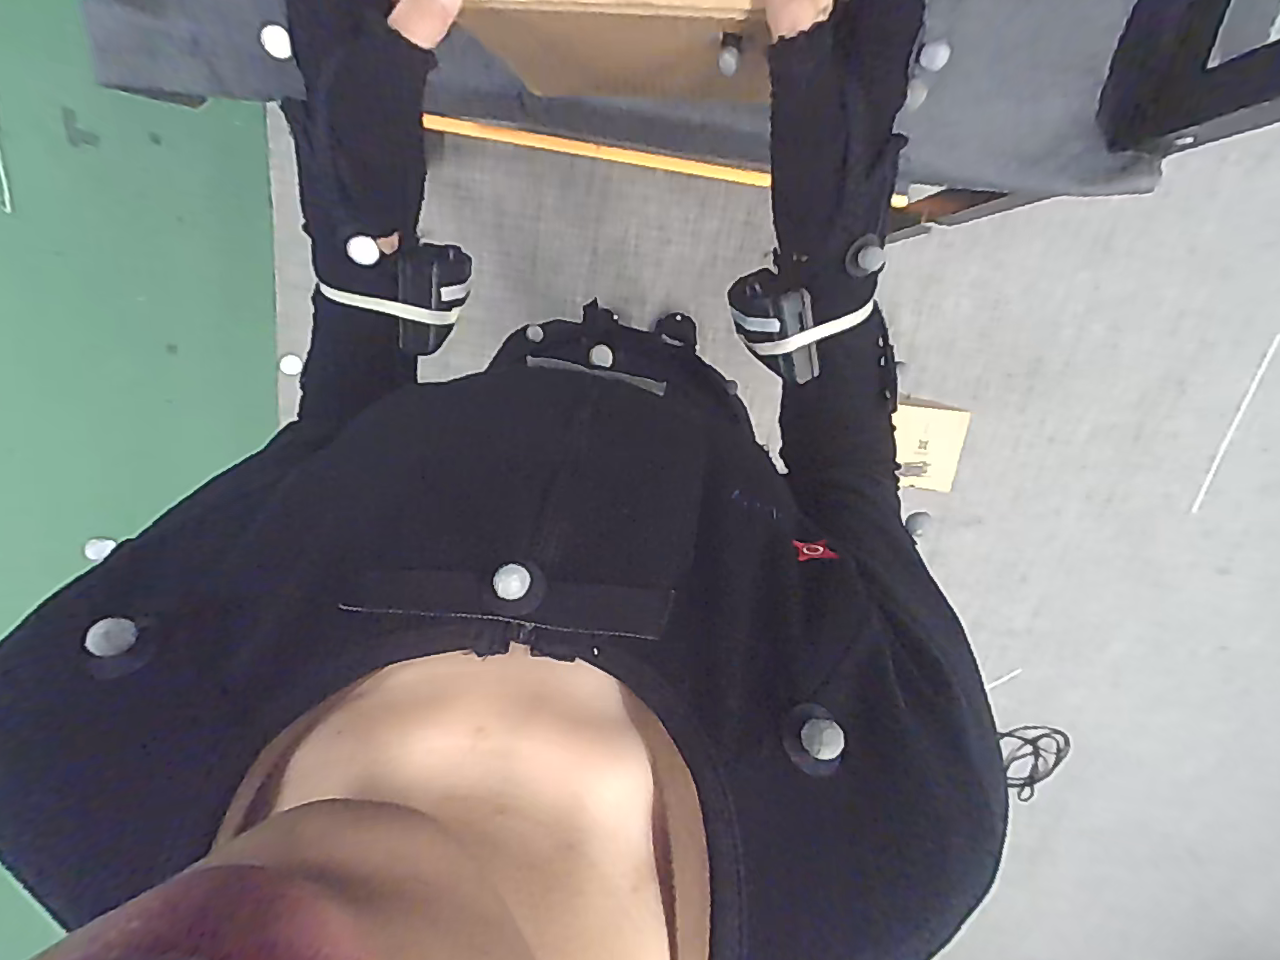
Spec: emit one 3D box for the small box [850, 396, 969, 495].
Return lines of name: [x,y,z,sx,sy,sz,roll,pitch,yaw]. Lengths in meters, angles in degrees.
small box: [0.586,-0.082,1.202,0.168,0.176,0.179,6,106,0]
